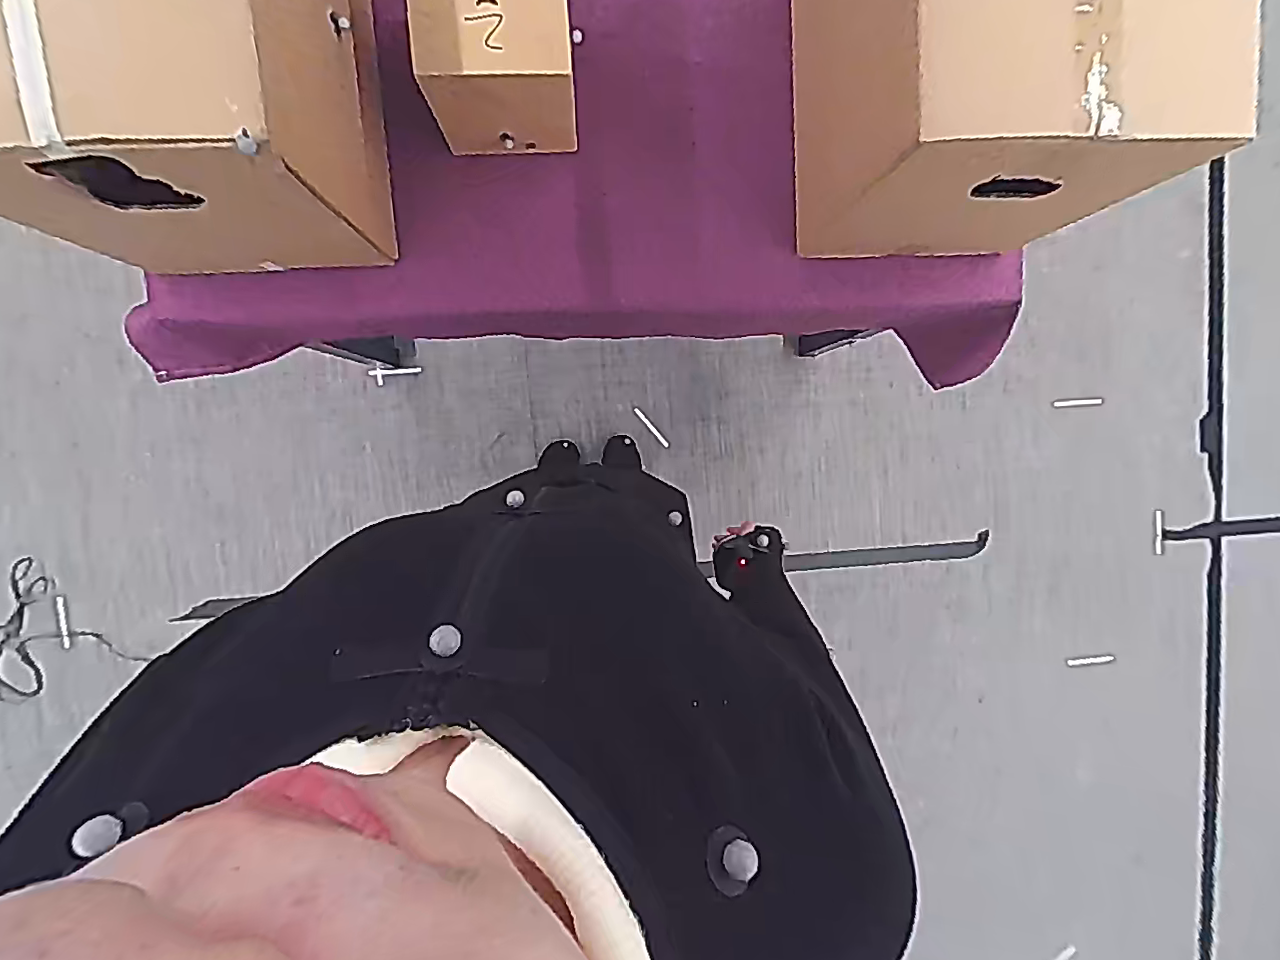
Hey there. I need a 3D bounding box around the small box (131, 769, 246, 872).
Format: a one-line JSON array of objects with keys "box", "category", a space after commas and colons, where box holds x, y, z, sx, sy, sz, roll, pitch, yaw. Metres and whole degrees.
[{"box": [-1.172, 0.885, 1.419, 0.179, 0.176, 0.168, 2, 96, -5], "category": "small box"}]
